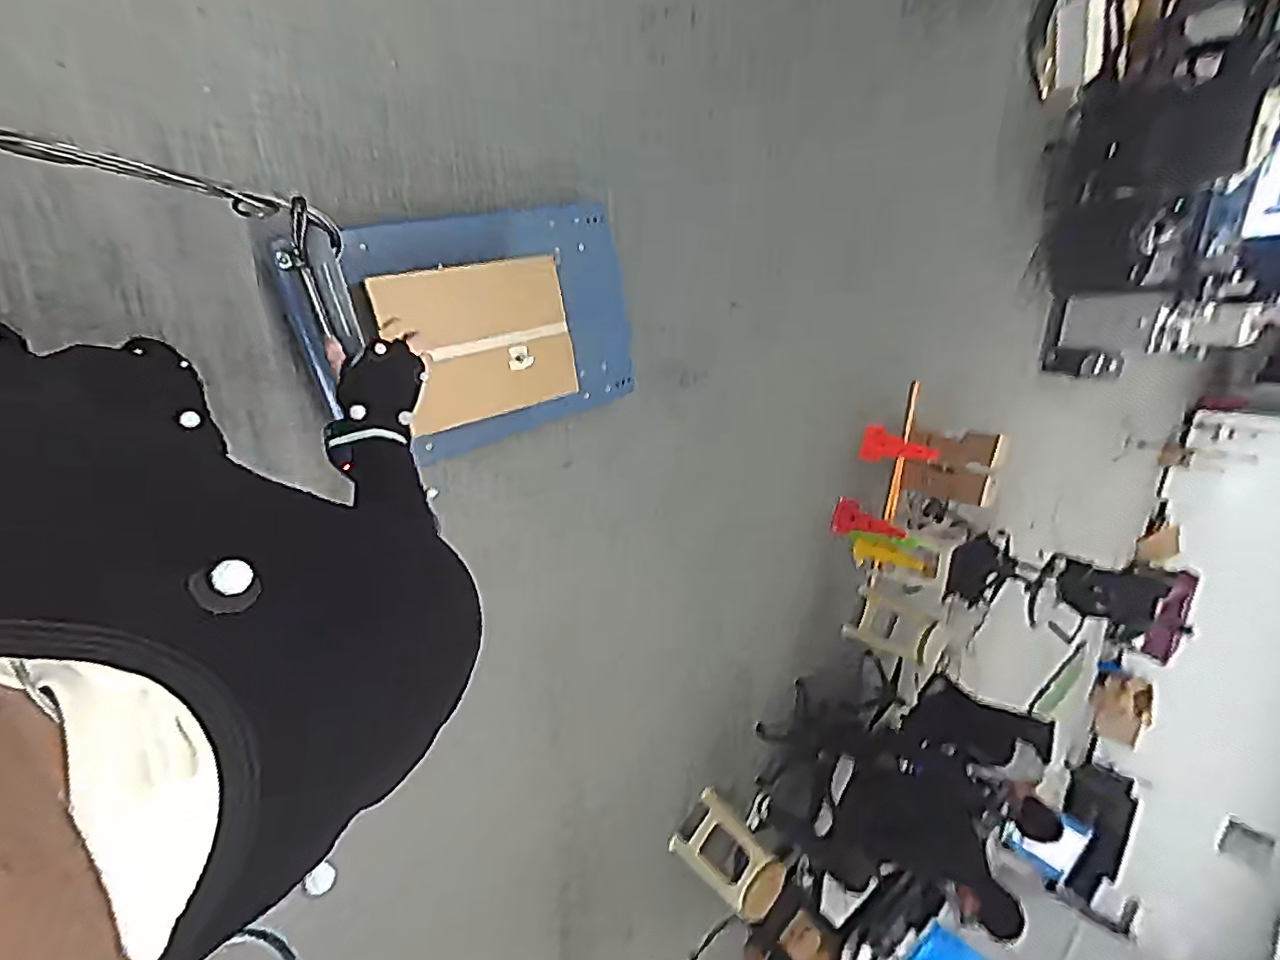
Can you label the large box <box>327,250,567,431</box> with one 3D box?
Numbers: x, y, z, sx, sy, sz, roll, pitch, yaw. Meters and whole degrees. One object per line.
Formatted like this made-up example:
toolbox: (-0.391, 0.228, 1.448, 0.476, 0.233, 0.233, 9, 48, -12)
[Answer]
large box: (-0.444, -0.334, 1.269, 0.408, 0.320, 0.320, -23, 116, -32)
